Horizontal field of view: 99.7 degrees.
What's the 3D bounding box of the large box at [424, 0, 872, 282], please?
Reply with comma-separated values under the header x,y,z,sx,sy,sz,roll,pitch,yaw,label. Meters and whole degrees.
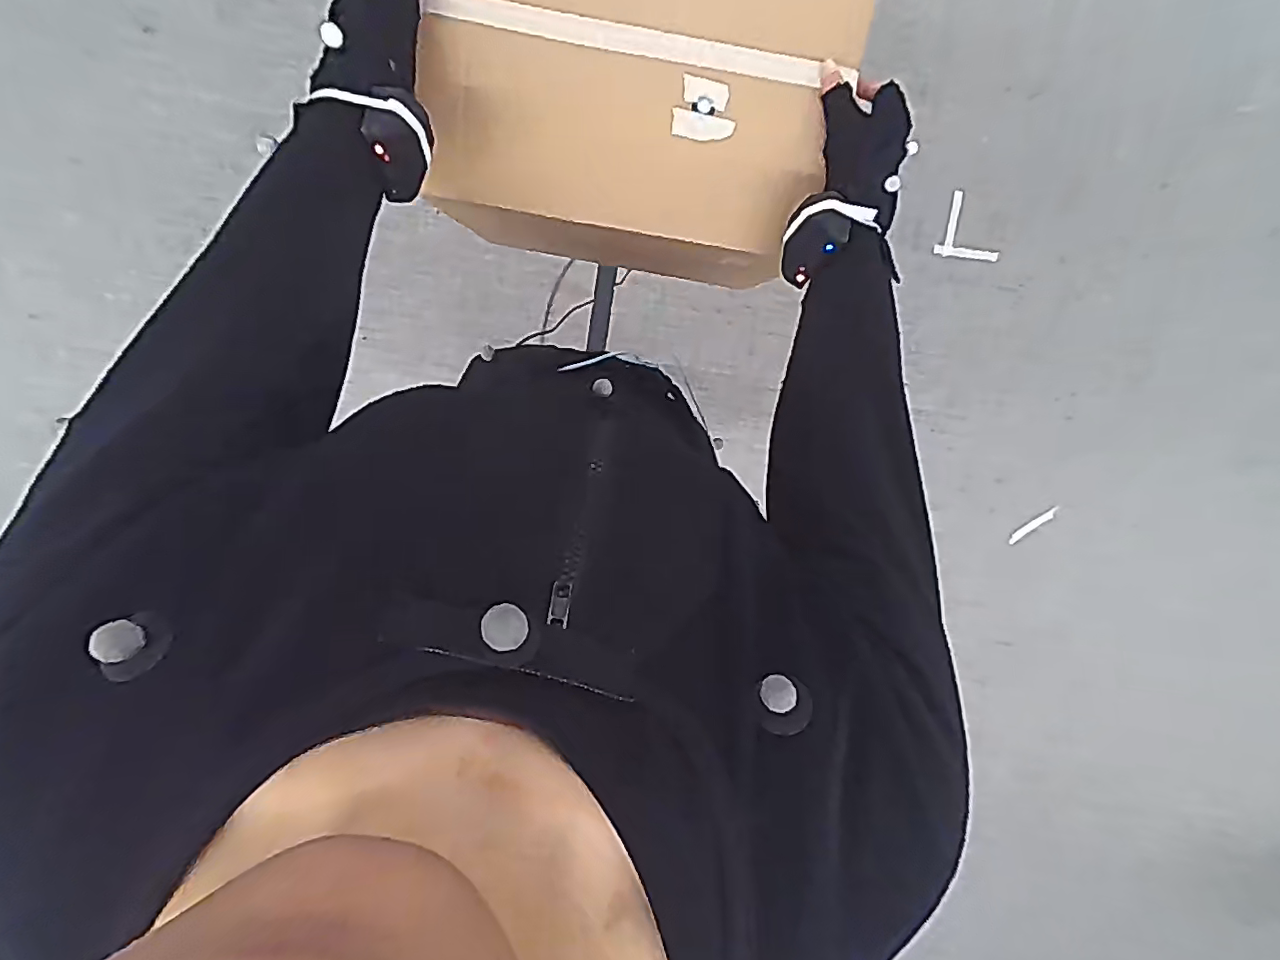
x,y,z,sx,sy,sz,roll,pitch,yaw,label
0.001,-0.440,0.643,0.408,0.320,0.320,9,105,-4,large box
